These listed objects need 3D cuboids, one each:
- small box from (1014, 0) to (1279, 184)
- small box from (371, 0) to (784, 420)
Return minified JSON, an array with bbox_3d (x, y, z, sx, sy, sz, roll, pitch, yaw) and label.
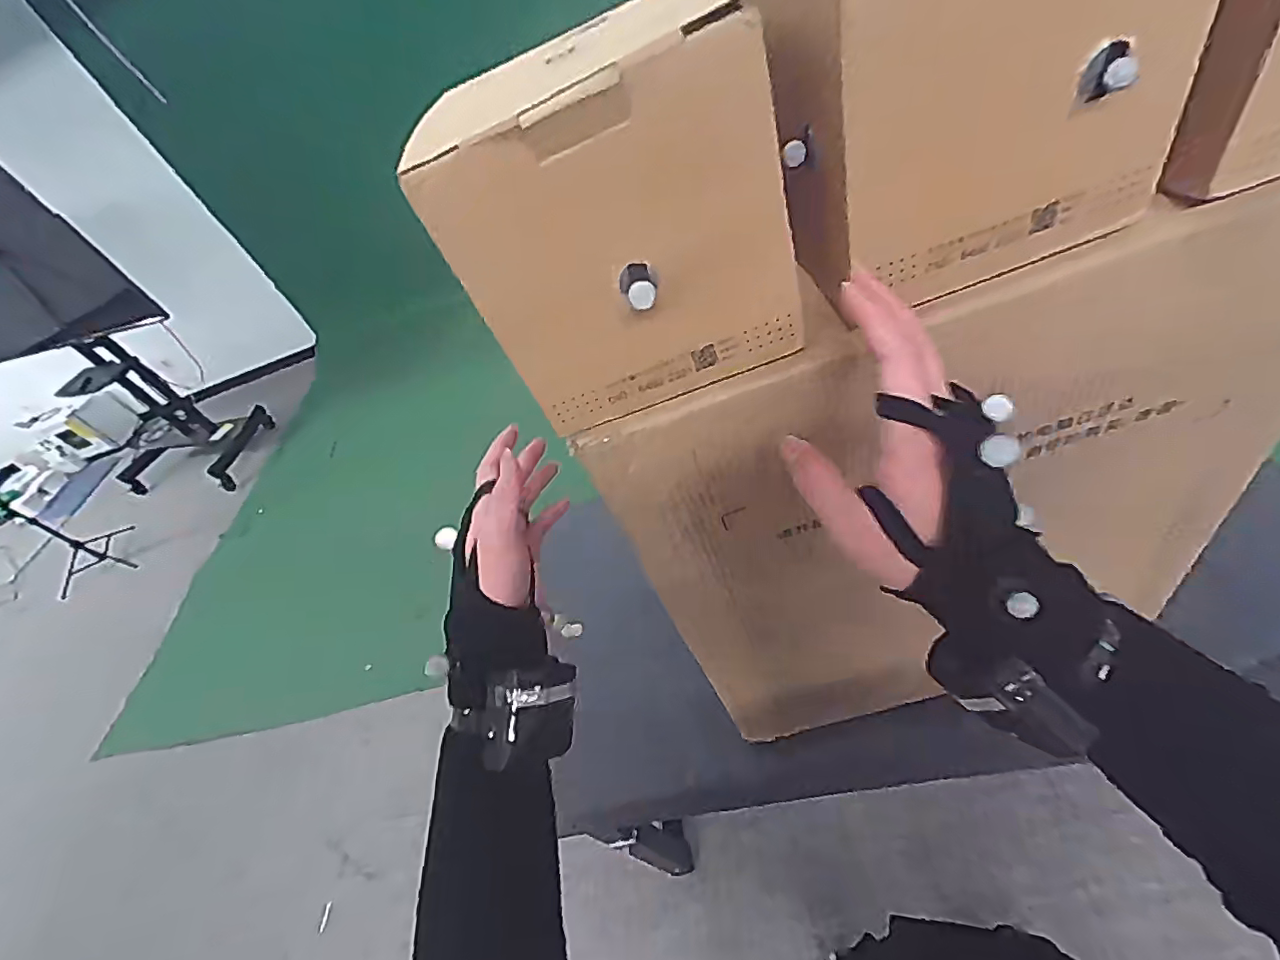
[{"bbox_3d":[0.330,-0.282,0.273,0.168,0.176,0.179,-19,46,8],"label":"small box"},{"bbox_3d":[-0.024,-0.158,0.331,0.168,0.176,0.179,-20,45,9],"label":"small box"}]
